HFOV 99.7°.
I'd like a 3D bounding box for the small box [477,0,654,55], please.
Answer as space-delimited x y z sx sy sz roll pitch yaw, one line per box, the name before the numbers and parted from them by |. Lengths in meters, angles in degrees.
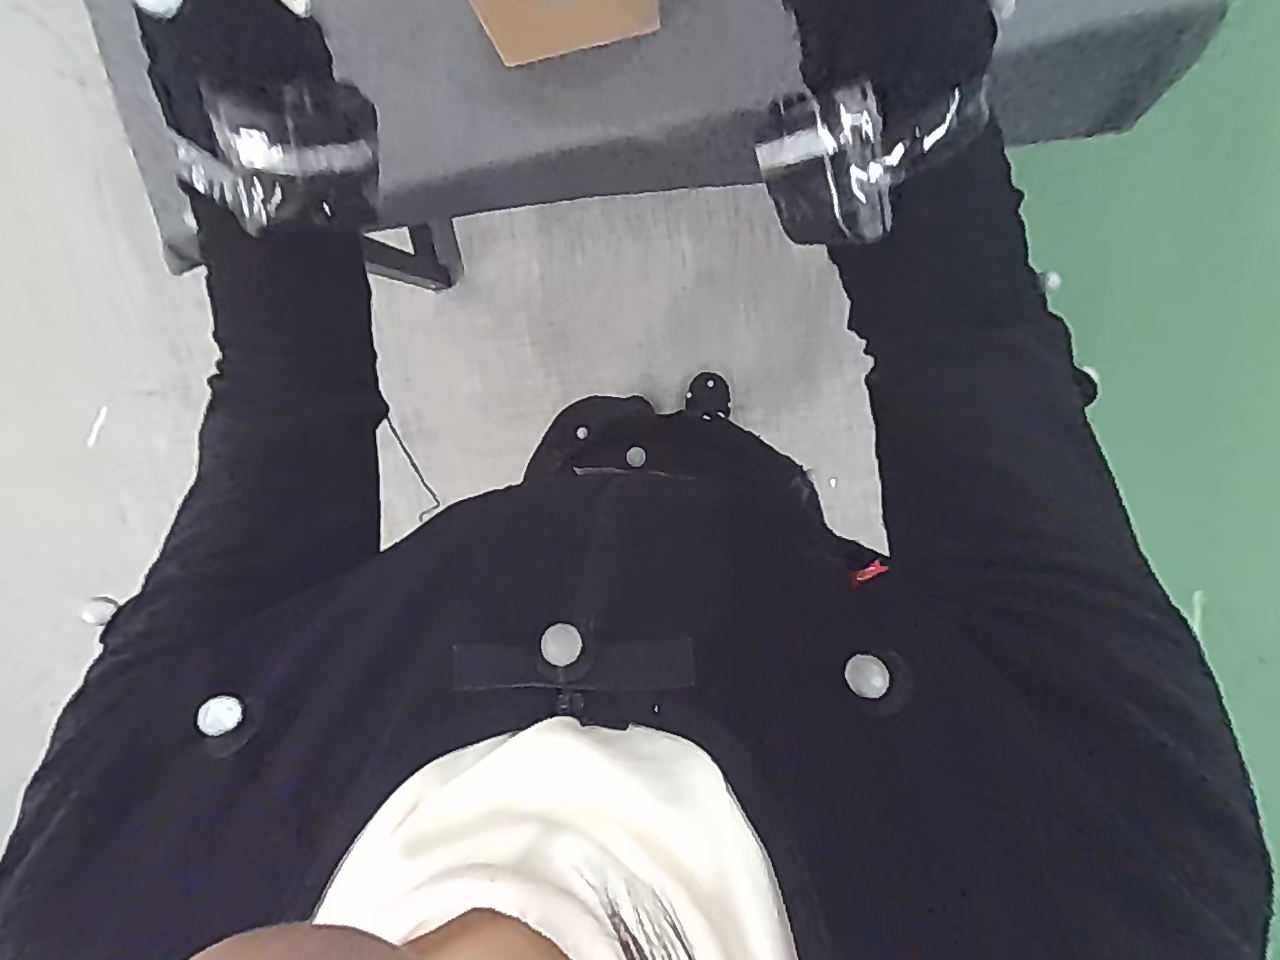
small box | -0.087 -0.546 0.507 0.179 0.176 0.168 -10 102 5
